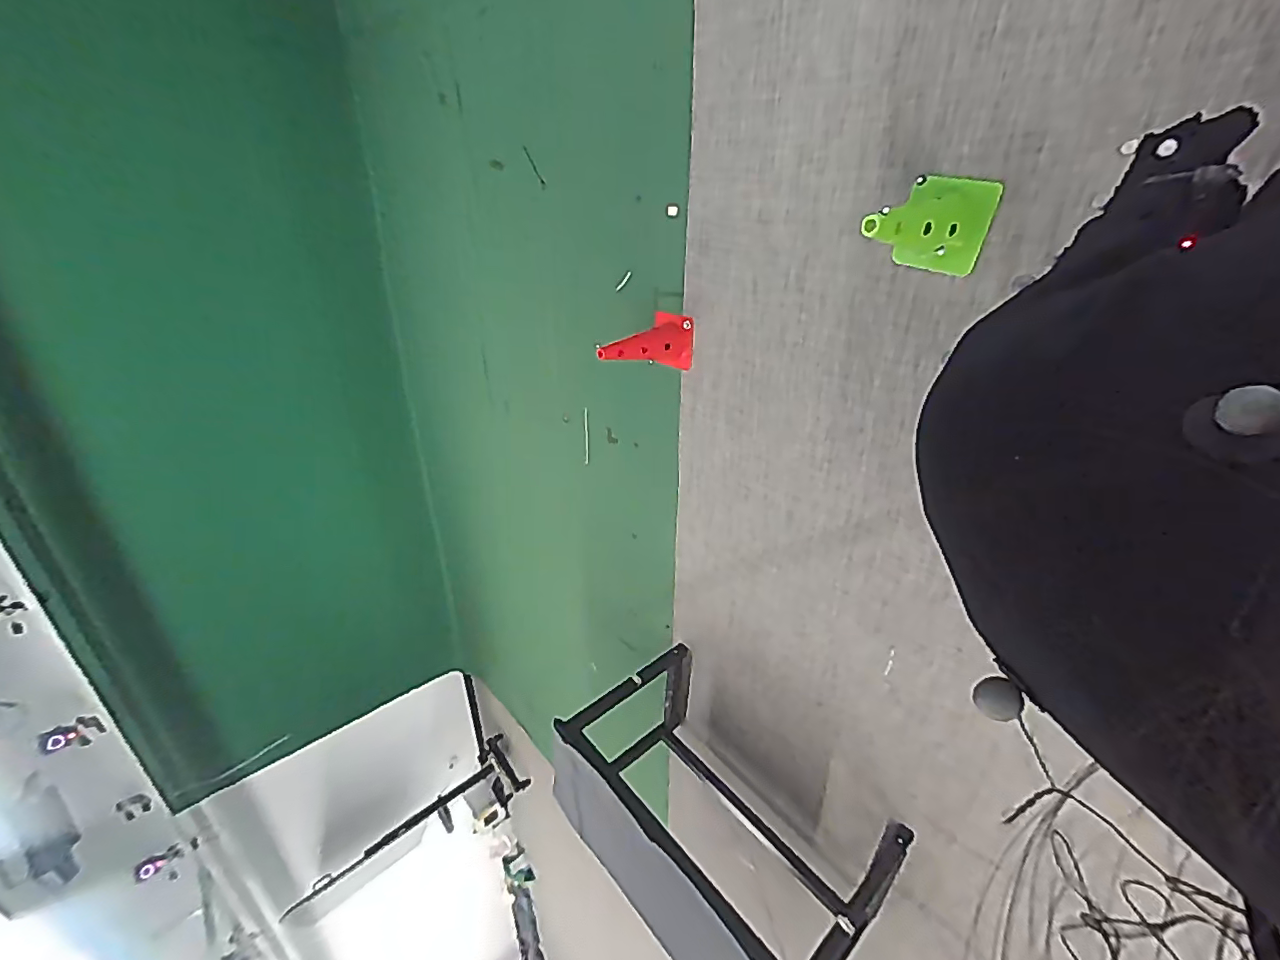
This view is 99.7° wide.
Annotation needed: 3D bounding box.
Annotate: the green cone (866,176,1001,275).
[{"bbox_3d":[0.598,-0.561,1.189,0.202,0.368,0.200,33,130,38],"label":"green cone"}]
